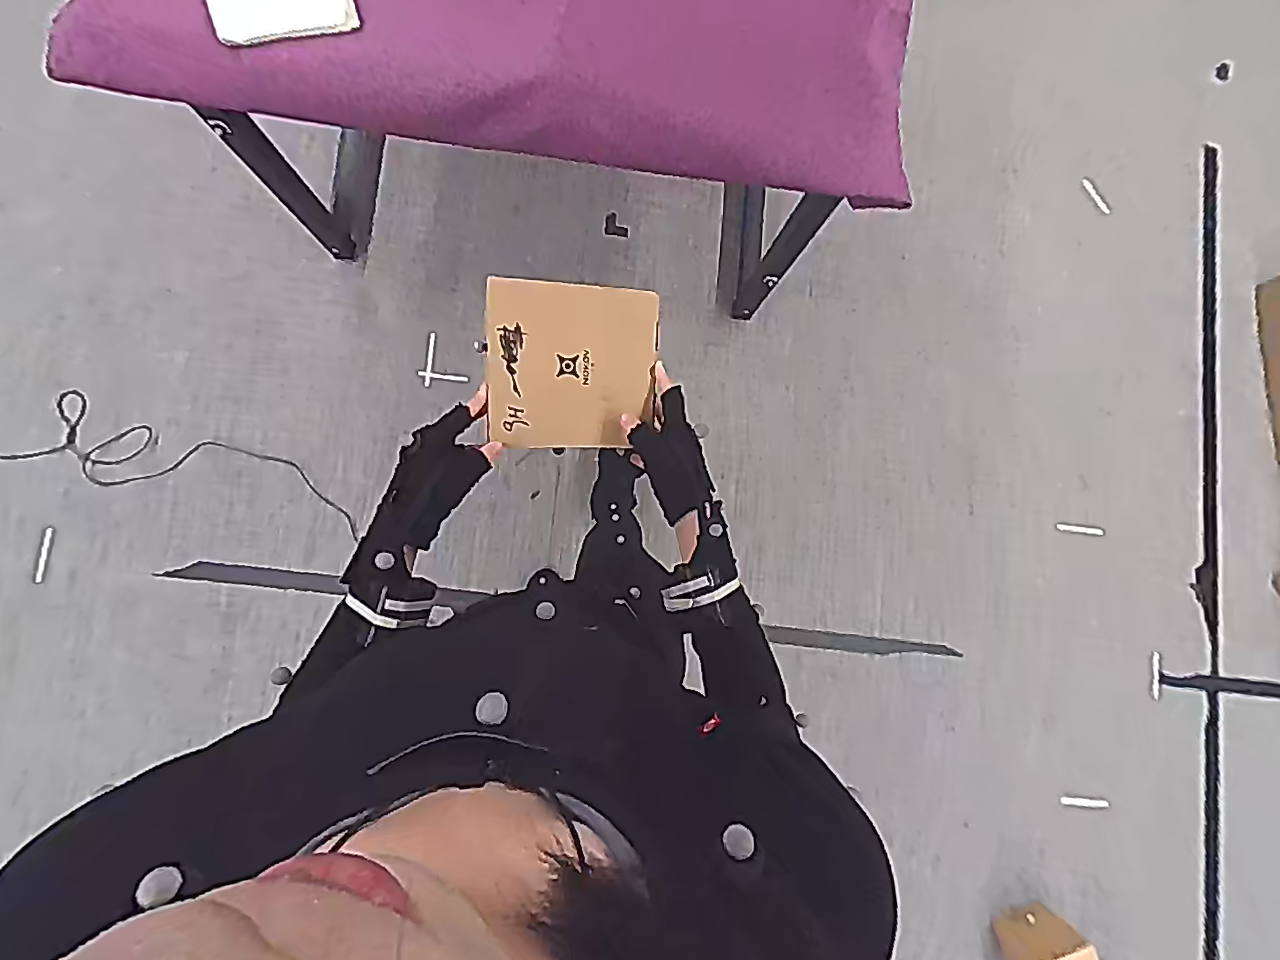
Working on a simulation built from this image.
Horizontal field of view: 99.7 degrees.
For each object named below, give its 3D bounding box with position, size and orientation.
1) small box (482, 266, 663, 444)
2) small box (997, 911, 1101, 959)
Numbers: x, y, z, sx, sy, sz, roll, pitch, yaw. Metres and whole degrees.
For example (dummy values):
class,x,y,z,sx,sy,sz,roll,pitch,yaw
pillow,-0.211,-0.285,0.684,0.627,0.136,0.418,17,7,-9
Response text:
class,x,y,z,sx,sy,sz,roll,pitch,yaw
small box,-0.086,-0.130,0.616,0.179,0.176,0.168,0,97,-18
small box,1.105,1.315,1.442,0.168,0.176,0.179,-16,86,-7
